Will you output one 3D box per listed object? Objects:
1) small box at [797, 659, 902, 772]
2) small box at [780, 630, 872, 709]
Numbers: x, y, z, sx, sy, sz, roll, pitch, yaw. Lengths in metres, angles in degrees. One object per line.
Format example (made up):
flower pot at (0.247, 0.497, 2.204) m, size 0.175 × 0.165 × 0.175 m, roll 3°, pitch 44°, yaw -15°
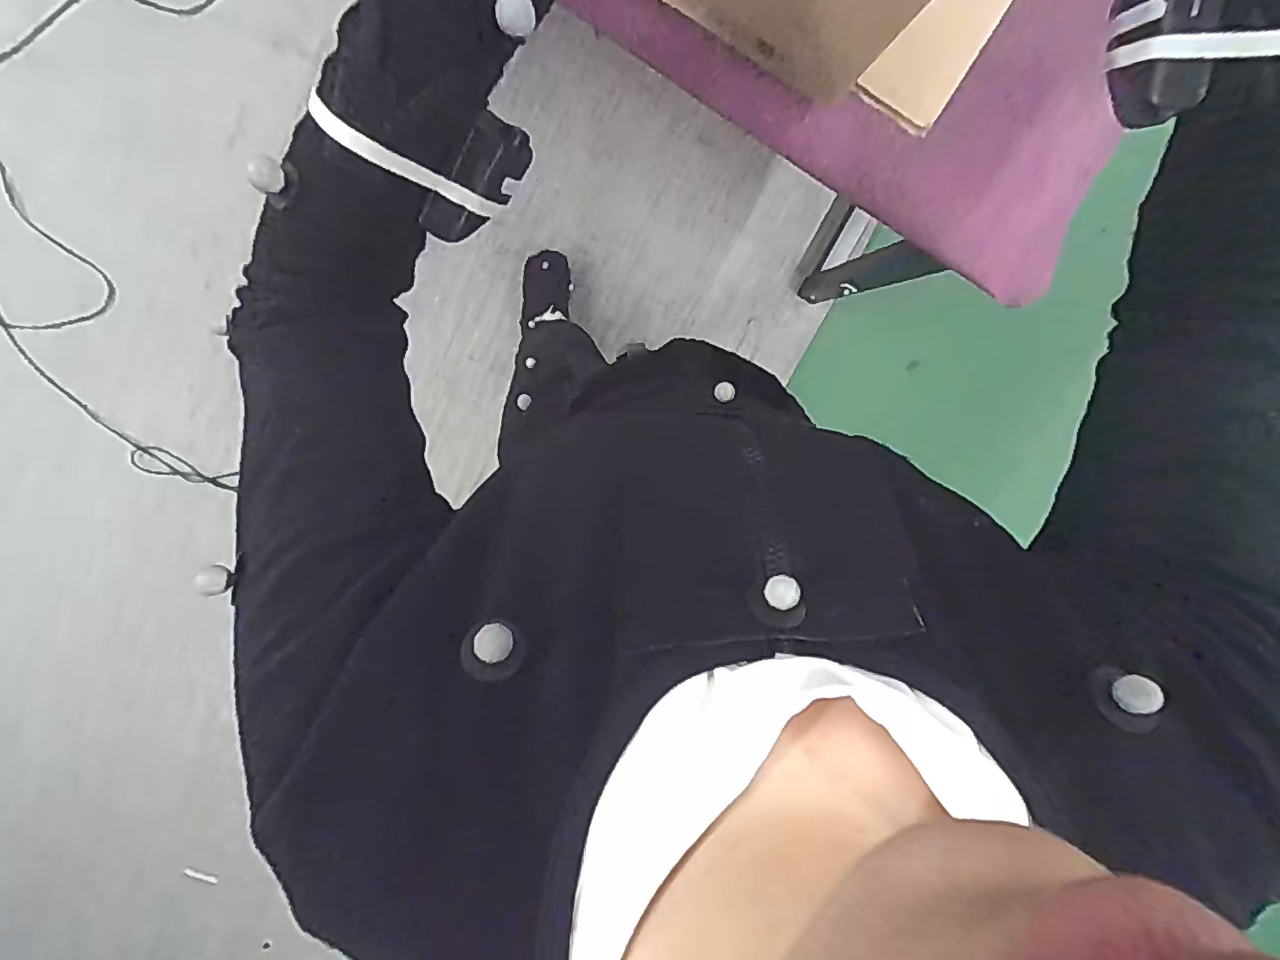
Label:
small box at (0.537, 0.613, 1.423) m, size 0.168 × 0.176 × 0.179 m, roll 29°, pitch 100°, yaw -10°
small box at (0.532, 0.577, 1.582) m, size 0.168 × 0.176 × 0.179 m, roll 28°, pitch 100°, yaw -10°
